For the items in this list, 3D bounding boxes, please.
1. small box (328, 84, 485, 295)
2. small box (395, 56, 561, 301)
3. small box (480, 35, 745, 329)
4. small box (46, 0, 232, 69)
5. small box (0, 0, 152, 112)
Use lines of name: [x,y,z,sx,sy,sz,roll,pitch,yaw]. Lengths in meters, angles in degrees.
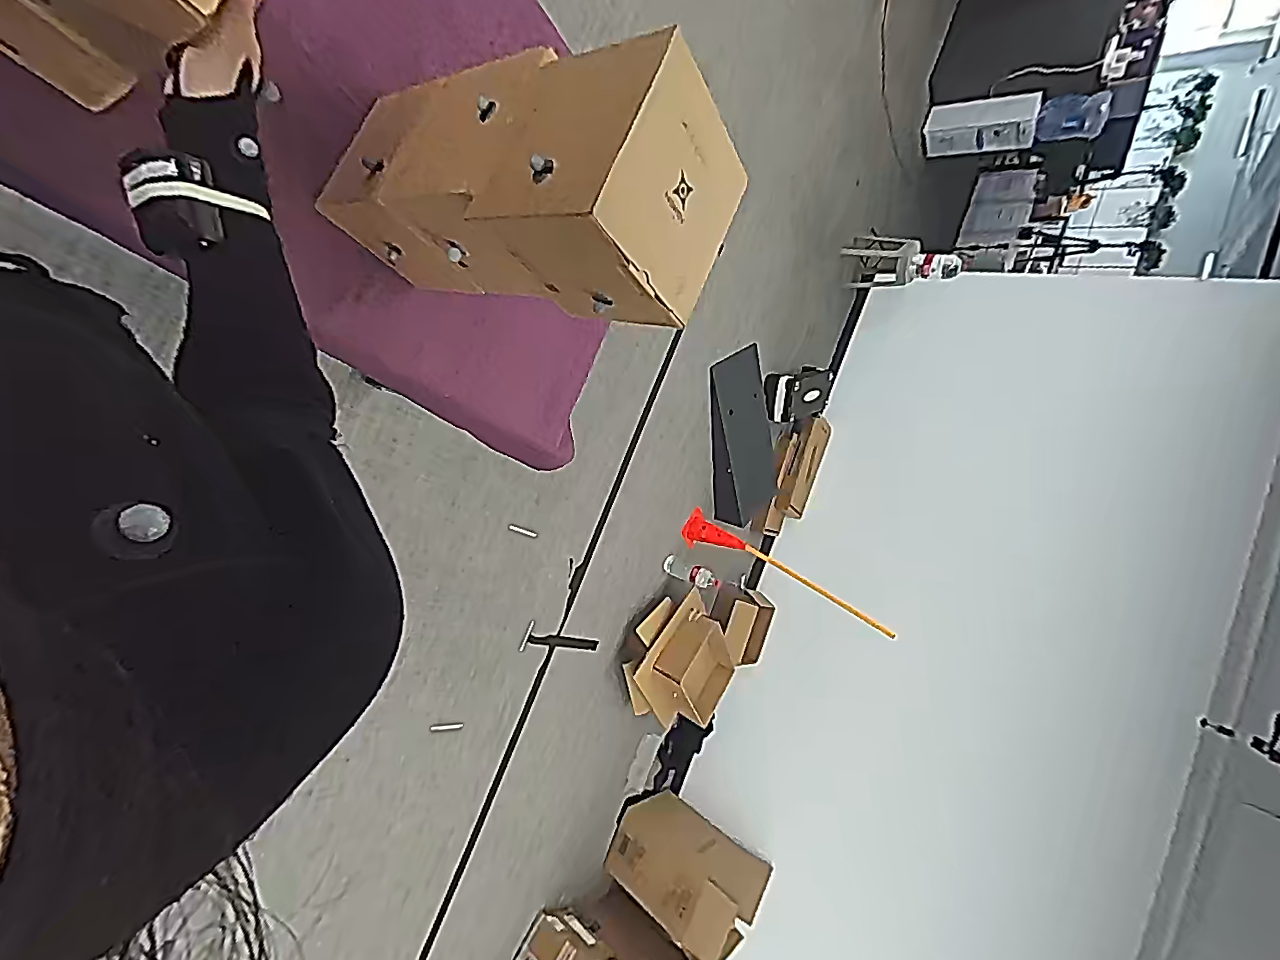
small box: [-0.277,-0.370,0.717,0.168,0.176,0.179,36,74,-54]
small box: [-0.146,-0.332,0.625,0.168,0.176,0.179,35,76,-53]
small box: [-0.027,-0.272,0.530,0.168,0.176,0.179,31,79,-55]
small box: [-0.342,-0.403,0.332,0.168,0.176,0.179,30,80,-55]
small box: [-0.472,-0.434,0.427,0.168,0.176,0.179,33,76,-54]
